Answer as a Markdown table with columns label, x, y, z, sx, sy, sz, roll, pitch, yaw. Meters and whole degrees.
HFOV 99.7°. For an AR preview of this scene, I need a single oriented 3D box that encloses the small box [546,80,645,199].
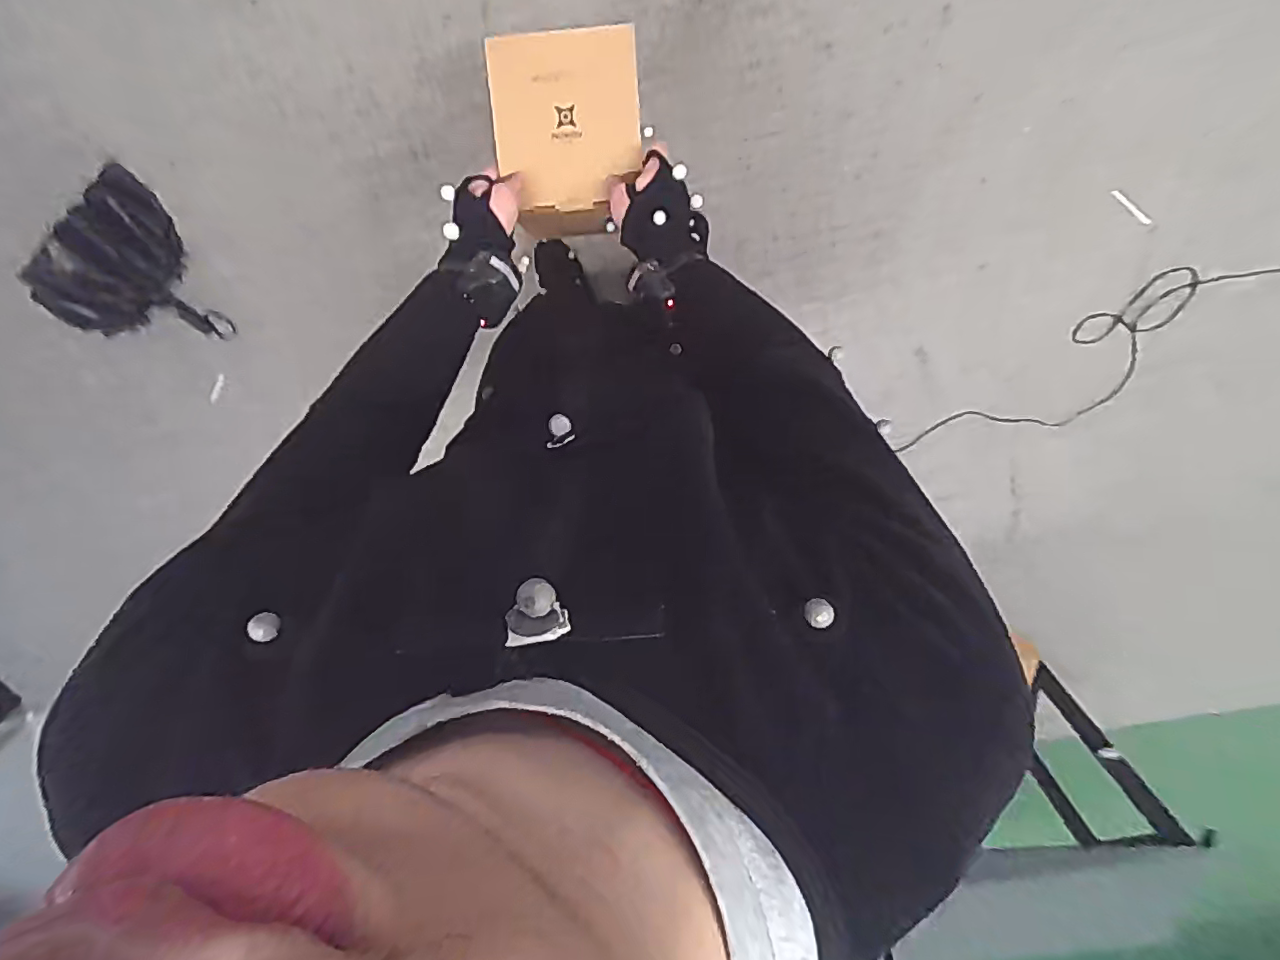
| label | x | y | z | sx | sy | sz | roll | pitch | yaw |
| --- | --- | --- | --- | --- | --- | --- | --- | --- | --- |
| small box | -0.089 | -0.716 | 1.152 | 0.168 | 0.176 | 0.179 | -12 | 121 | 7 |
